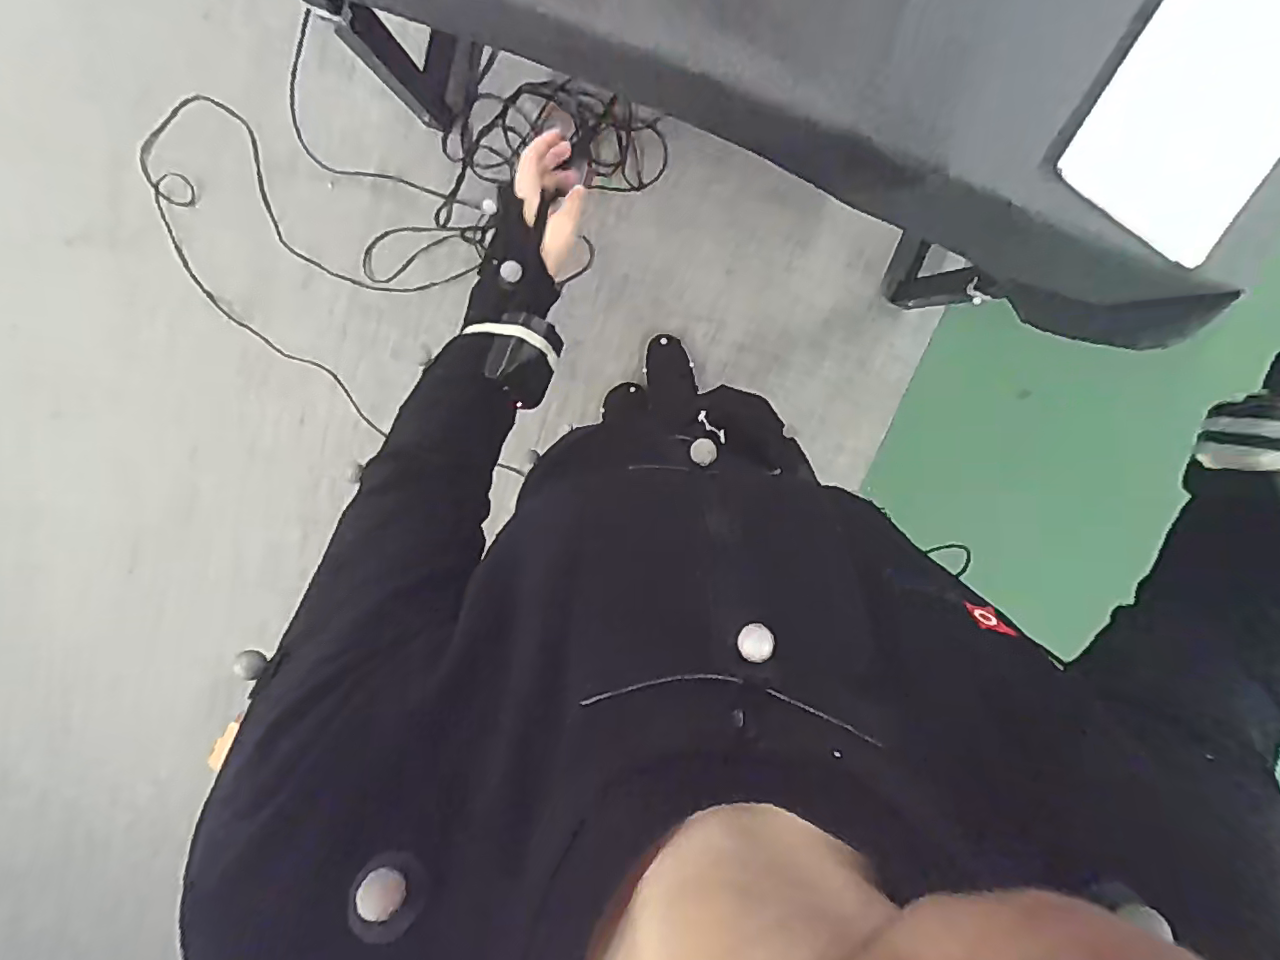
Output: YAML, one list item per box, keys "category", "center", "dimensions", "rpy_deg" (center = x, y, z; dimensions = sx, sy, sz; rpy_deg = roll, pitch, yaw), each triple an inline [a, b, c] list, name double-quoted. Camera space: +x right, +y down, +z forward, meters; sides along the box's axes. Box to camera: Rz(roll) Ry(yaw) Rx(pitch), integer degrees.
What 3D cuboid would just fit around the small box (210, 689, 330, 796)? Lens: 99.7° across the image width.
- category: "small box"
  center: [-0.998, 0.702, 1.472]
  dimensions: [0.179, 0.176, 0.168]
  rpy_deg: [35, 102, -10]
